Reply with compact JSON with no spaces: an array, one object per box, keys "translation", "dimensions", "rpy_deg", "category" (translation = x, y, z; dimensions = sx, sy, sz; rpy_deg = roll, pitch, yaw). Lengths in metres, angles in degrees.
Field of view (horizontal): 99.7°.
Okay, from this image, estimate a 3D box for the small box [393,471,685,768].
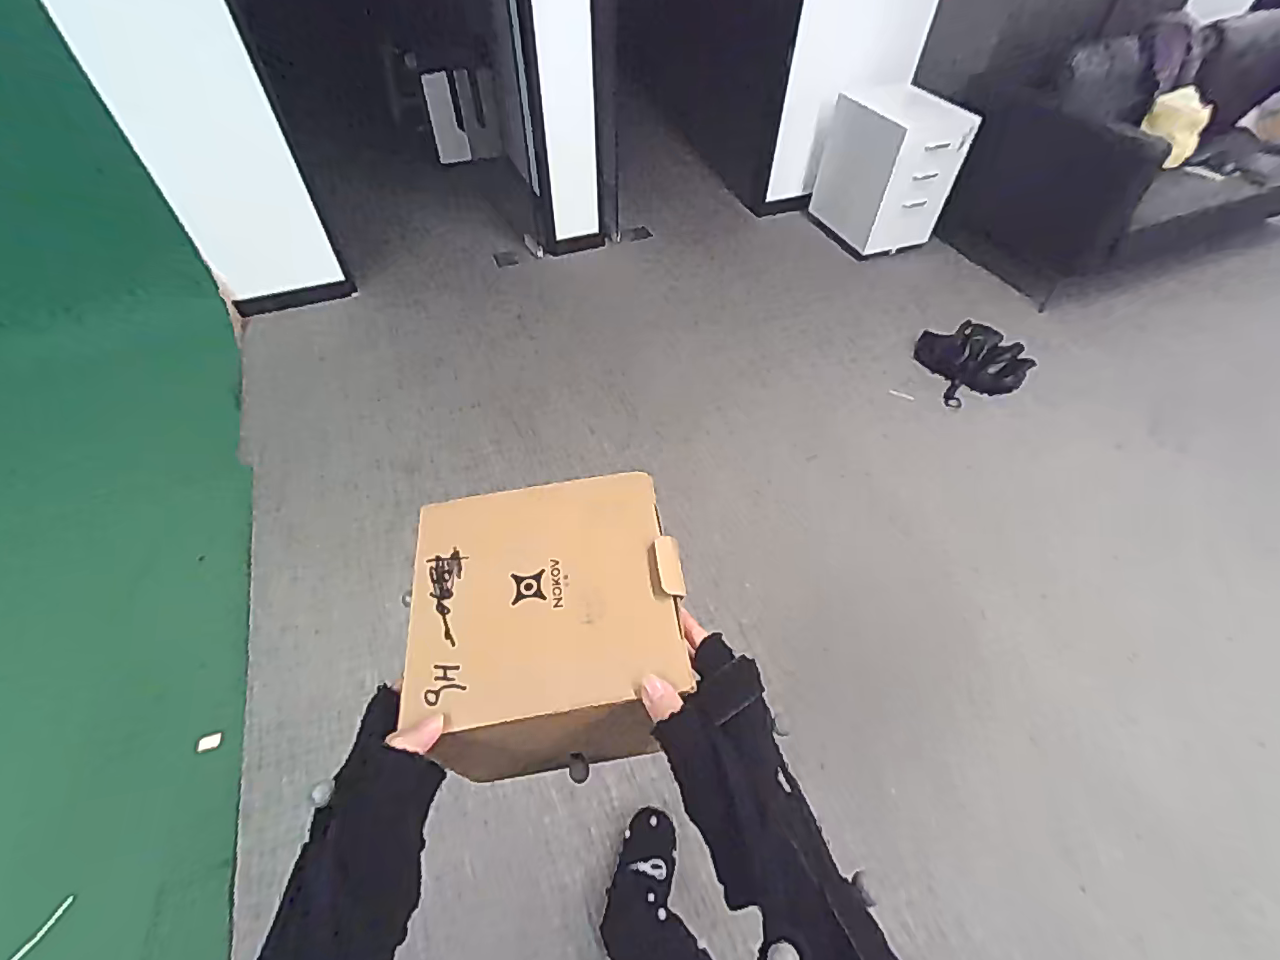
[{"translation":[-0.066,0.116,0.430],"dimensions":[0.179,0.176,0.168],"rpy_deg":[-8,53,-3],"category":"small box"}]
